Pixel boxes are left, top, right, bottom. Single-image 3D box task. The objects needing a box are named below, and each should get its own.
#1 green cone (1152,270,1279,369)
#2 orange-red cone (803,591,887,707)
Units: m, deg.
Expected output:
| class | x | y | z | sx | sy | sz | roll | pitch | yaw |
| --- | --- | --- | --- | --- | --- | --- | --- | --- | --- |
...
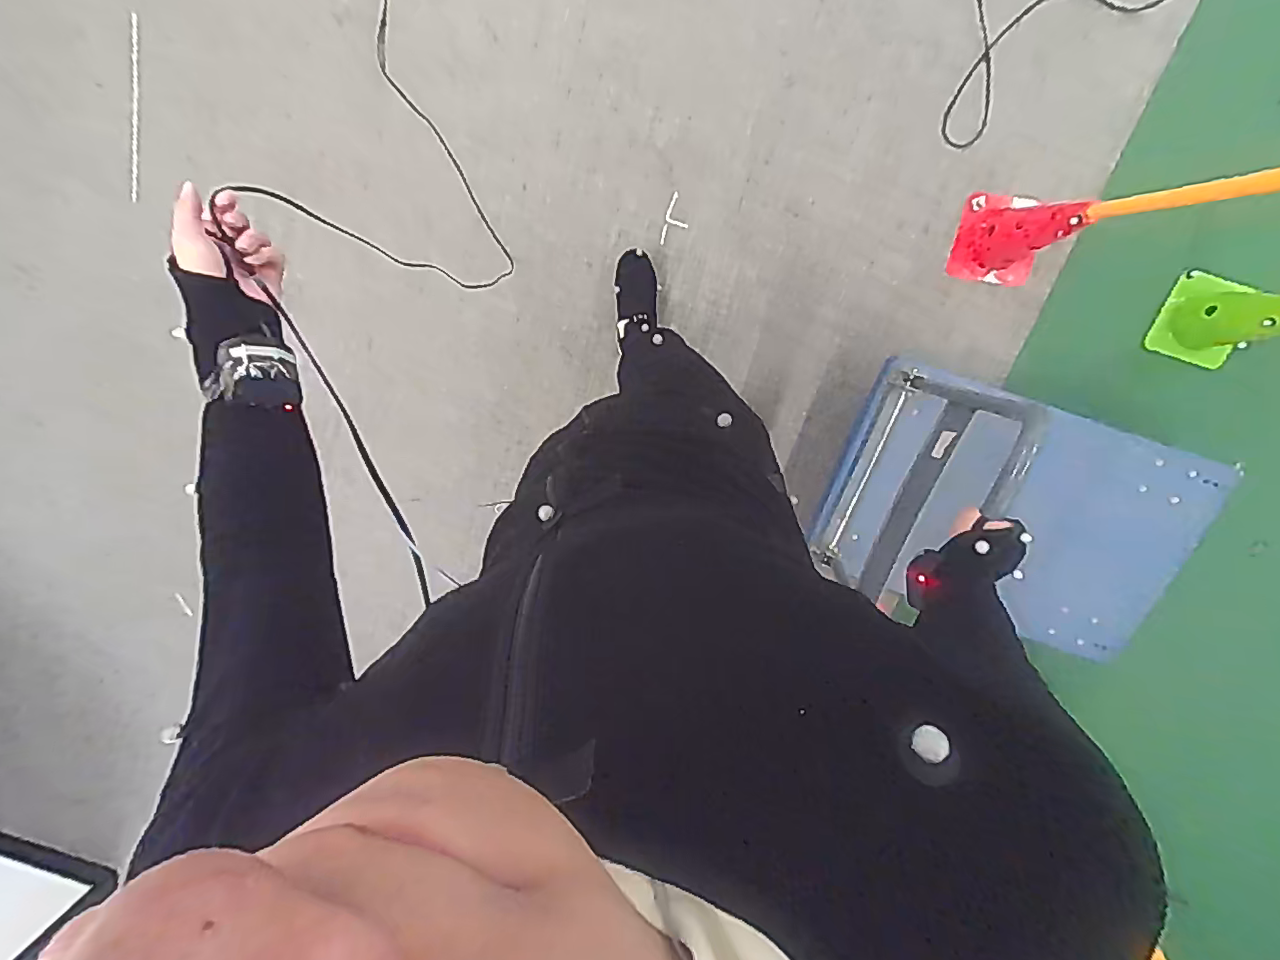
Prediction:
| class | x | y | z | sx | sy | sz | roll | pitch | yaw |
| --- | --- | --- | --- | --- | --- | --- | --- | --- | --- |
| green cone | 1.383 | -0.350 | 1.168 | 0.202 | 0.368 | 0.200 | 18 | 106 | 1 |
| orange-red cone | 0.605 | 0.492 | 1.490 | 0.199 | 0.360 | 0.198 | 18 | 107 | 0 |
